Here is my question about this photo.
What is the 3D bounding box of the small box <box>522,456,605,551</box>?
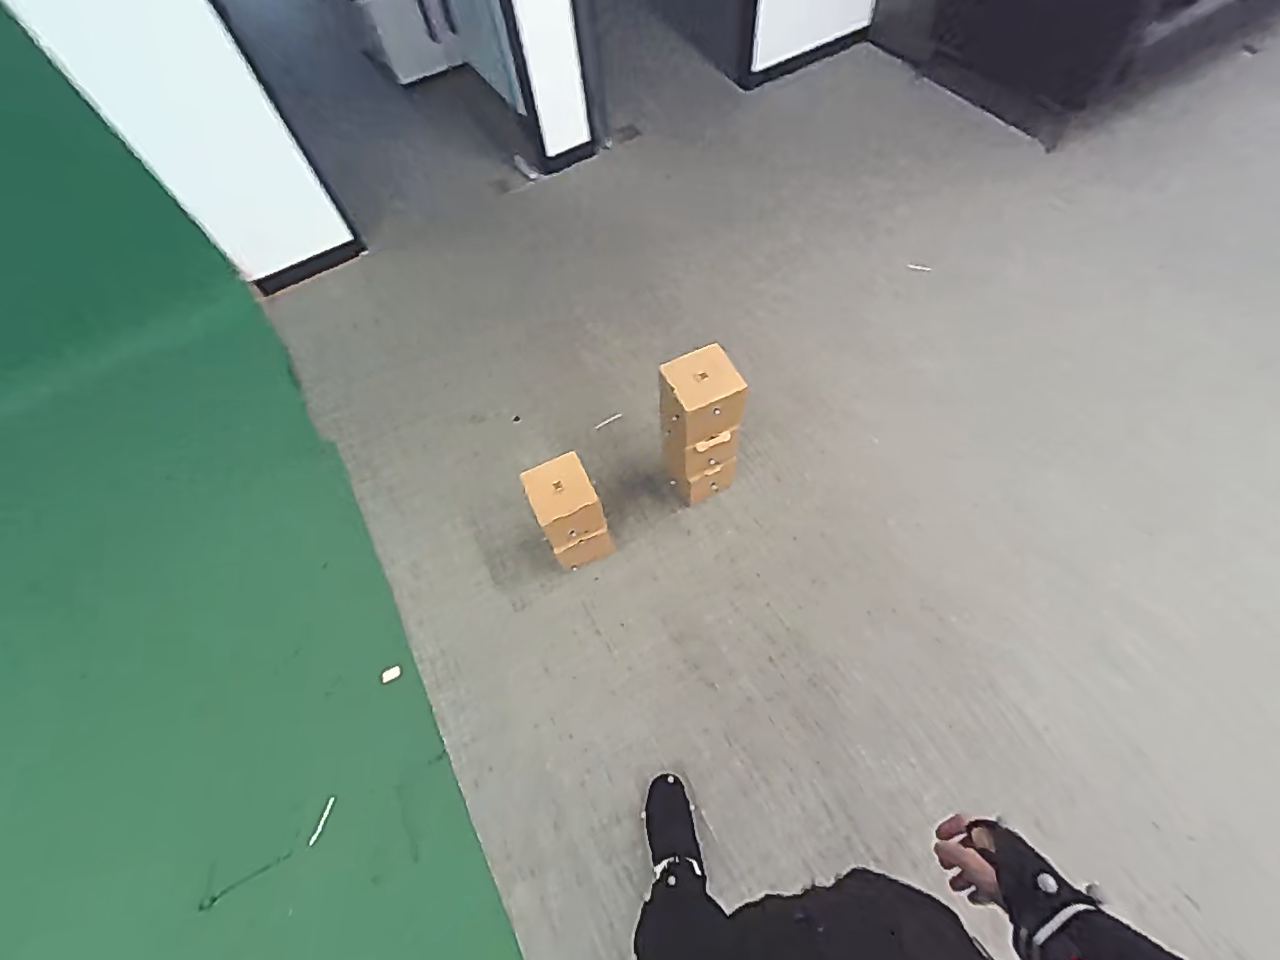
[{"bbox_3d":[-0.208,0.069,1.503,0.168,0.176,0.179,-24,62,-10],"label":"small box"}]

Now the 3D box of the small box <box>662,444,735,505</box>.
[{"bbox_3d":[0.184,-0.042,1.718,0.168,0.176,0.179,-27,63,-10],"label":"small box"}]

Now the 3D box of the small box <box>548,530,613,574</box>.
[{"bbox_3d":[-0.194,0.169,1.650,0.168,0.176,0.179,-25,62,-10],"label":"small box"}]

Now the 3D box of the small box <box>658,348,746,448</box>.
[{"bbox_3d":[0.162,-0.211,1.438,0.179,0.176,0.168,-24,62,-8],"label":"small box"}]

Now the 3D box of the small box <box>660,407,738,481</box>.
[{"bbox_3d":[0.168,-0.129,1.579,0.168,0.176,0.179,-24,62,-7],"label":"small box"}]
